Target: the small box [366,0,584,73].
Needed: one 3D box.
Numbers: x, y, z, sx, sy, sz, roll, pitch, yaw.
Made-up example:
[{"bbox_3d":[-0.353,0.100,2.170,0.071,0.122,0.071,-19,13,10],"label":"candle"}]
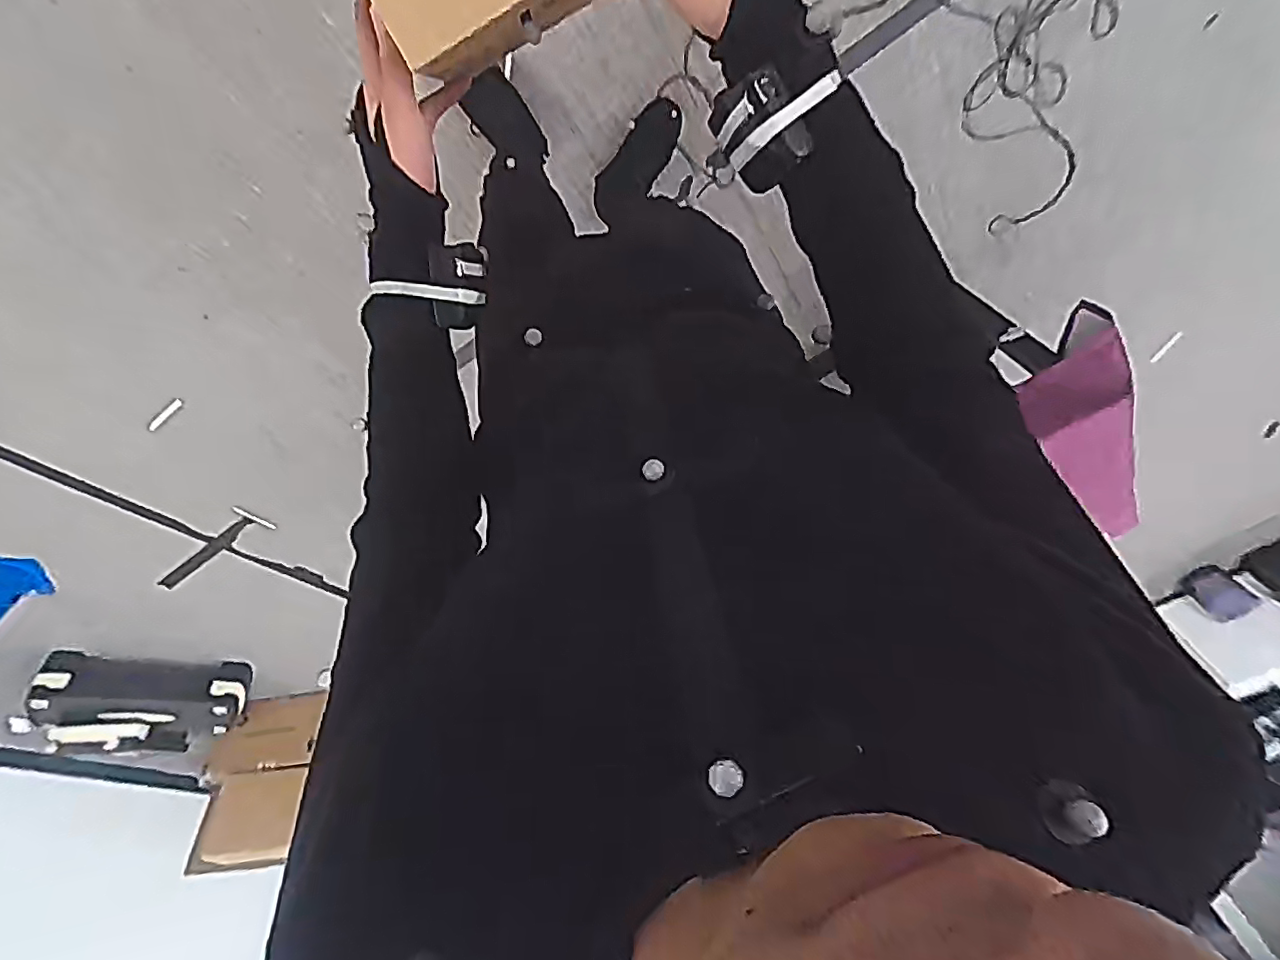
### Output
[{"bbox_3d":[-0.110,-0.394,0.344,0.179,0.176,0.168,-25,123,9],"label":"small box"}]
